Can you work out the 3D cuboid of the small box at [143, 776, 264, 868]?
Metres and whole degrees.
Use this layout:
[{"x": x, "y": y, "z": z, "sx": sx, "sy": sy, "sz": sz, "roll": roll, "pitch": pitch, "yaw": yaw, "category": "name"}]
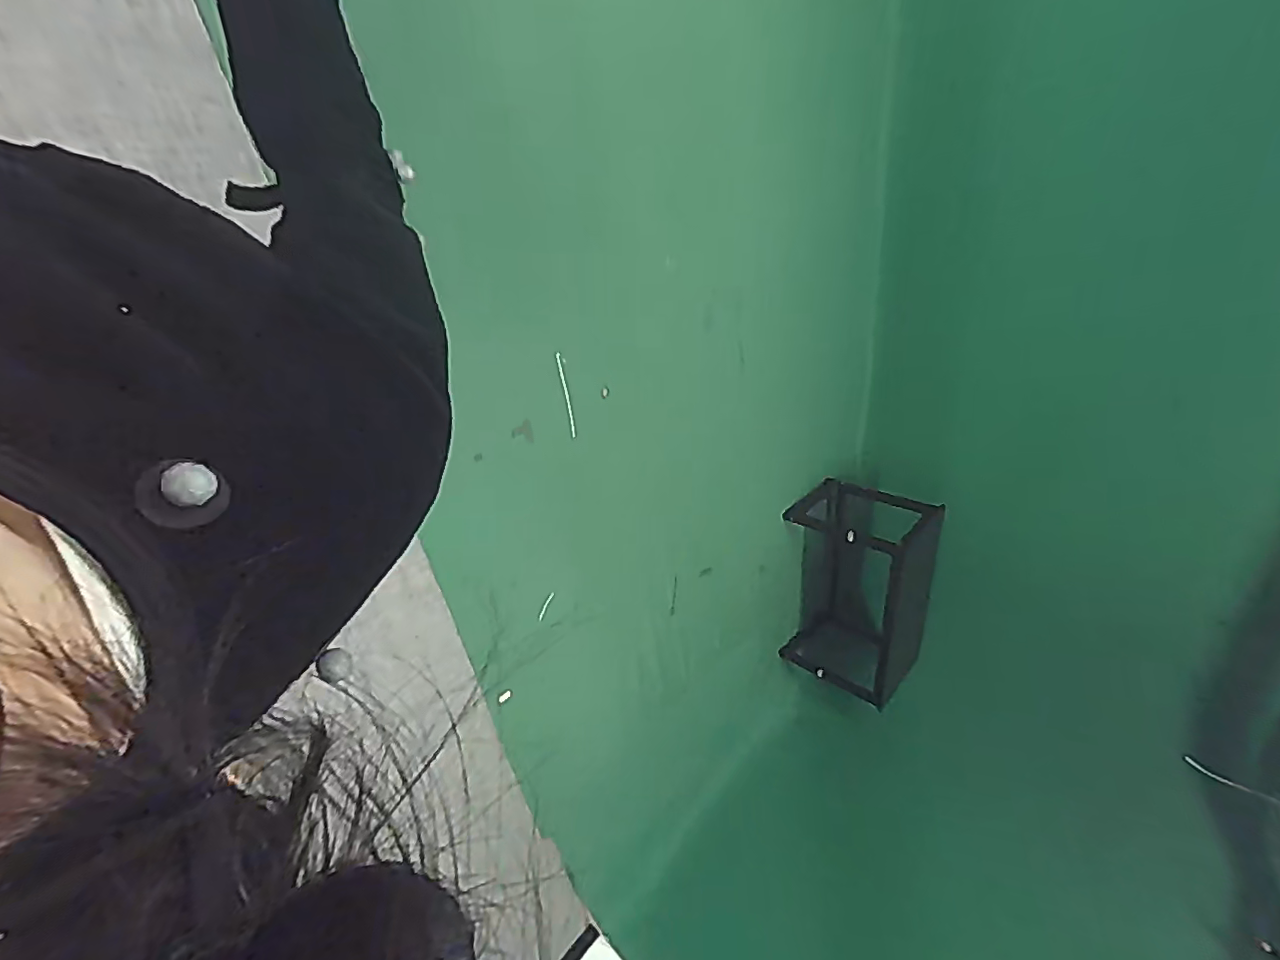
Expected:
[{"x": -1.075, "y": 0.879, "z": 1.330, "sx": 0.179, "sy": 0.176, "sz": 0.168, "roll": -35, "pitch": 126, "yaw": -30, "category": "small box"}]
